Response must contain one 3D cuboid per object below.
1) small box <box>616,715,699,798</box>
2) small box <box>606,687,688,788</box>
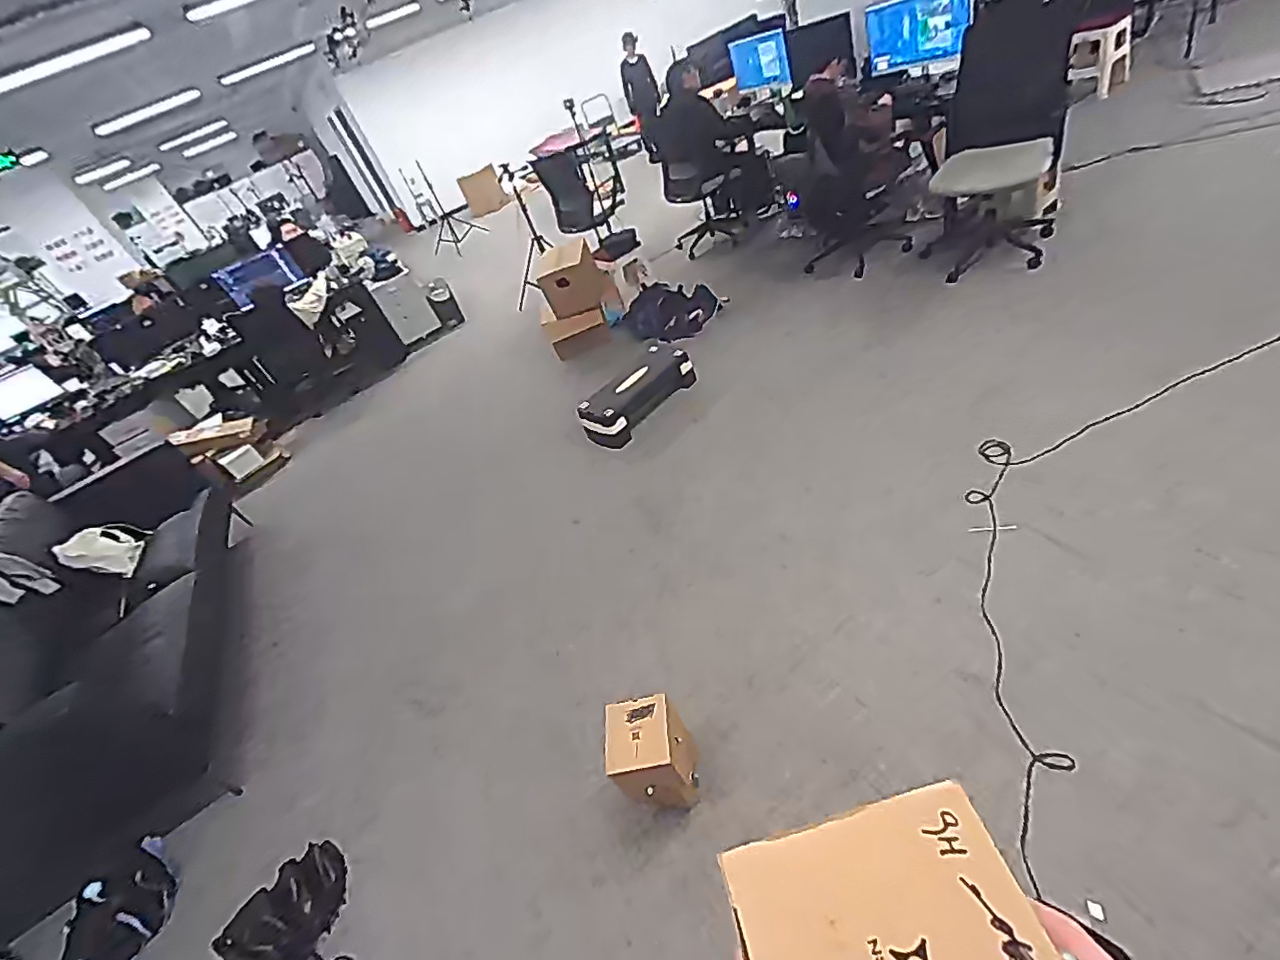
[{"bbox_3d":[0.055,0.774,1.519,0.179,0.176,0.168,-6,43,20],"label":"small box"},{"bbox_3d":[0.020,0.666,1.397,0.168,0.176,0.179,-16,41,12],"label":"small box"}]
